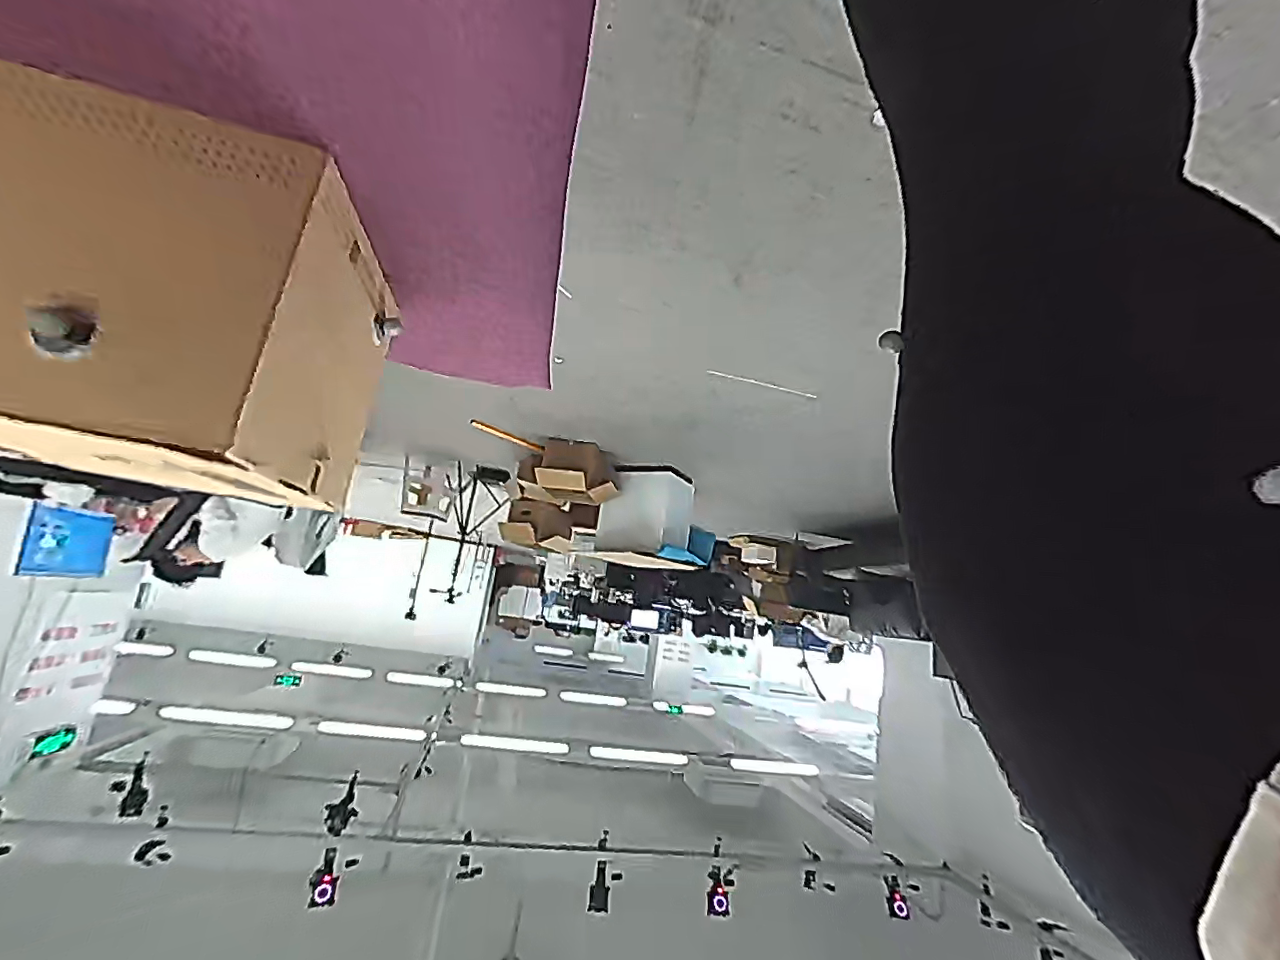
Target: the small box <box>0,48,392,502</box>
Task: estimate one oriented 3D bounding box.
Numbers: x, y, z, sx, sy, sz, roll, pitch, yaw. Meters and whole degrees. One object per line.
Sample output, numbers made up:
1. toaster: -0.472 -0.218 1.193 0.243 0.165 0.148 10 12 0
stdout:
1. small box: -0.264 -0.097 0.318 0.179 0.176 0.168 13 165 -9
